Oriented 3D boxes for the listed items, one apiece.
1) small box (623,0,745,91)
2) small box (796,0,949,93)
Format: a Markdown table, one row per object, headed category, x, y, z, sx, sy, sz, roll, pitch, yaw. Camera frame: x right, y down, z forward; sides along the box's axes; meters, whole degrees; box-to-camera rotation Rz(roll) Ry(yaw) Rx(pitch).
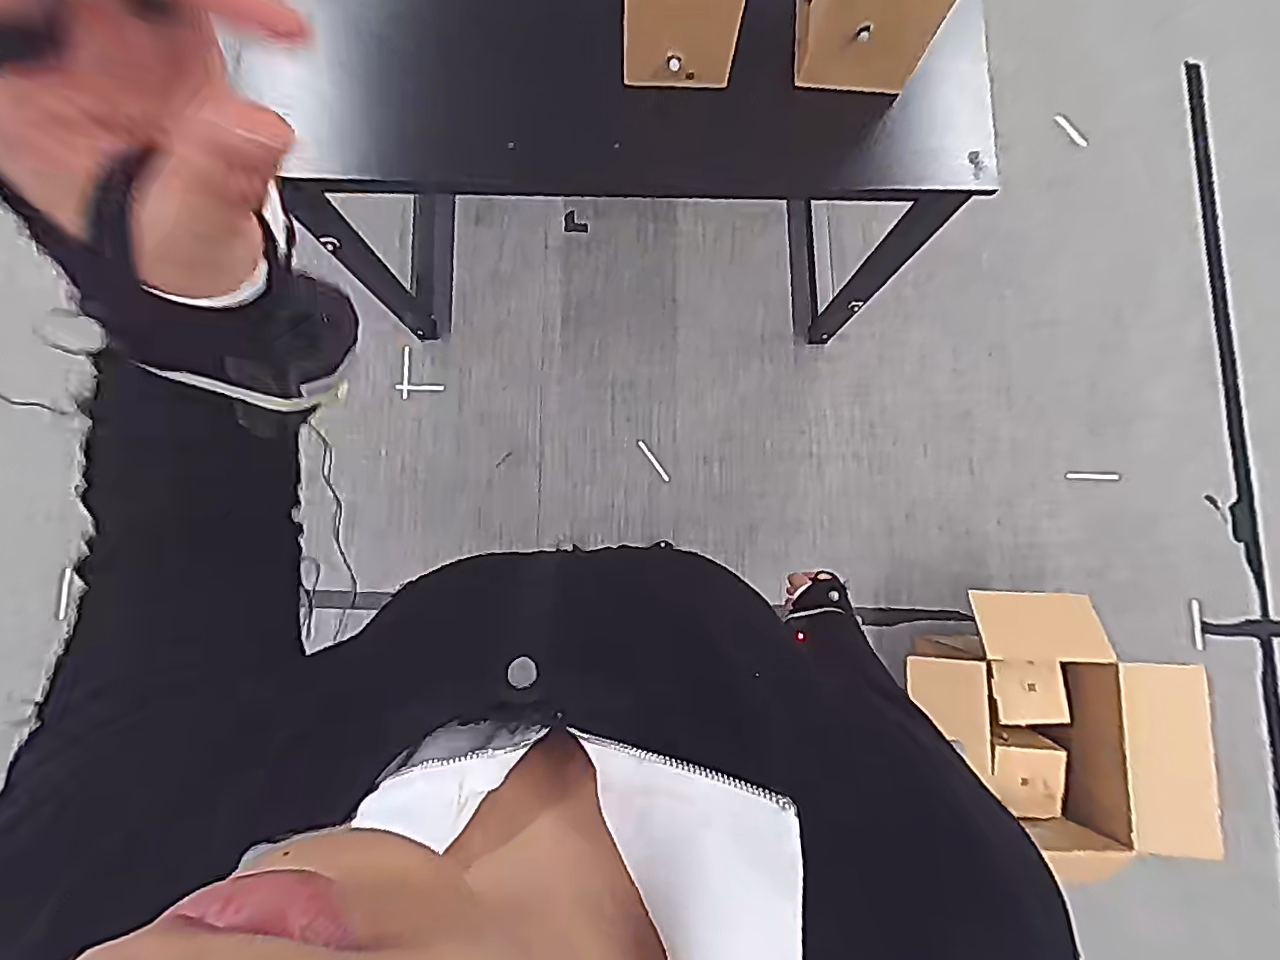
| category | x | y | z | sx | sy | sz | roll | pitch | yaw |
| --- | --- | --- | --- | --- | --- | --- | --- | --- | --- |
| small box | 0.059 | -0.726 | 0.799 | 0.168 | 0.176 | 0.179 | 1 | 84 | -1 |
| small box | 0.340 | -0.719 | 0.806 | 0.179 | 0.176 | 0.168 | 4 | 83 | 0 |
